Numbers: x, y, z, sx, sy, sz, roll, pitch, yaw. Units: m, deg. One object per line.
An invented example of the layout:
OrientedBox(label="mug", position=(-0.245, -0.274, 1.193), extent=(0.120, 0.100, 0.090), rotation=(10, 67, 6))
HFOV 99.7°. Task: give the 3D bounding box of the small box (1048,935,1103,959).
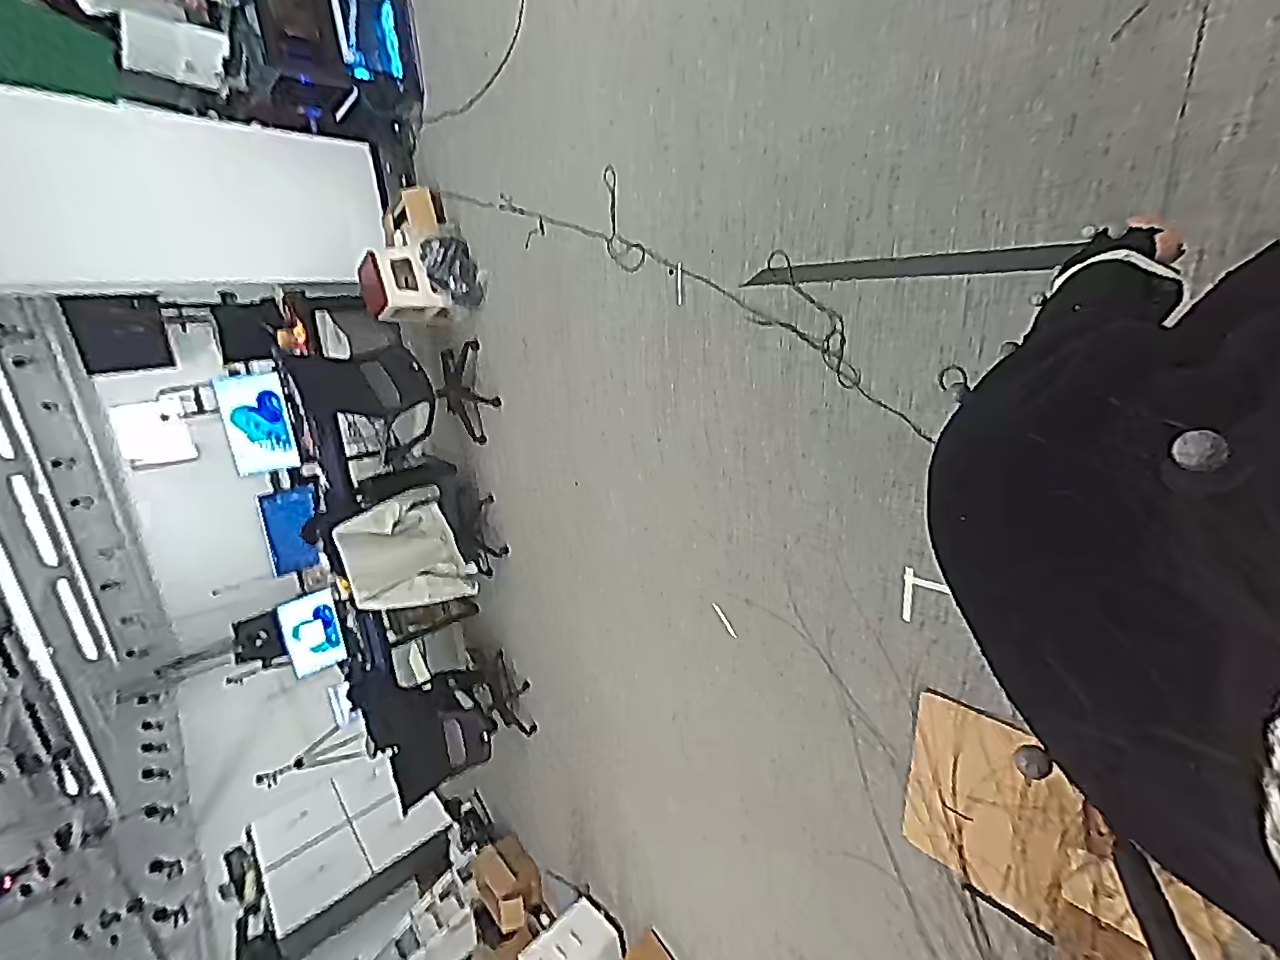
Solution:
OrientedBox(label="small box", position=(1.039, 1.234, 1.253), extent=(0.168, 0.176, 0.179), rotation=(9, 111, 46))

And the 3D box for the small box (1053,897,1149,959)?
OrientedBox(label="small box", position=(1.156, 1.190, 1.360), extent=(0.168, 0.176, 0.179), rotation=(7, 109, 48))

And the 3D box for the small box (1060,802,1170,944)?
OrientedBox(label="small box", position=(1.130, 0.919, 1.285), extent=(0.168, 0.176, 0.179), rotation=(13, 115, 46))
